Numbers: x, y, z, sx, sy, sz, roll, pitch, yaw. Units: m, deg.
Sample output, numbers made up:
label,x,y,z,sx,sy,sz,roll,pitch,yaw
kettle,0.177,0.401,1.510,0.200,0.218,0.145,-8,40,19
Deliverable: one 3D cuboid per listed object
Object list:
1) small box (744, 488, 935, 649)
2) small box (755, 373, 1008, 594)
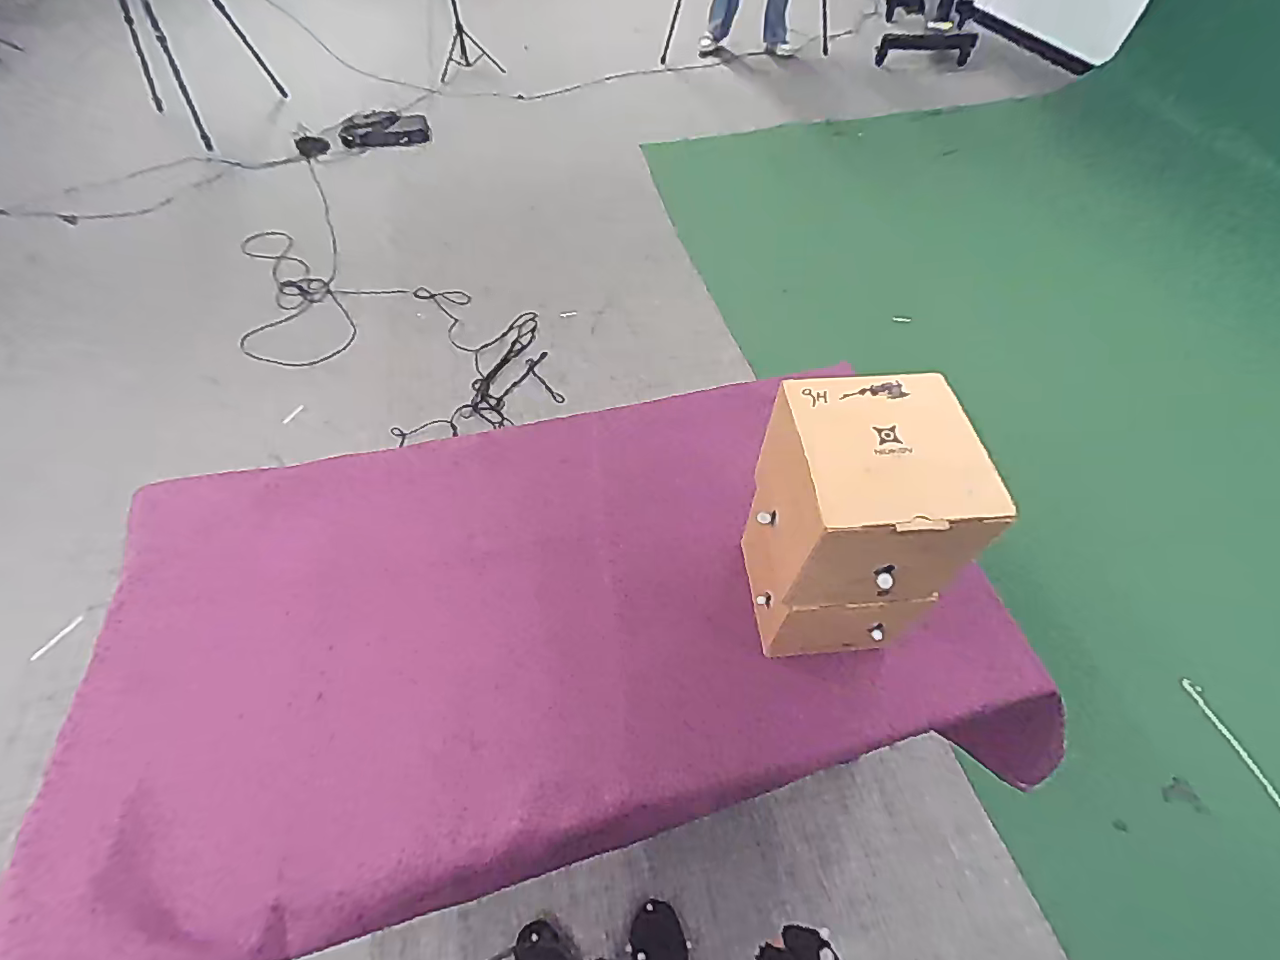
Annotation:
label,x,y,z,sx,sy,sz,roll,pitch,yaw
small box,0.237,0.109,0.696,0.168,0.176,0.179,-3,55,-2
small box,0.226,0.012,0.564,0.168,0.176,0.179,-2,56,-2
